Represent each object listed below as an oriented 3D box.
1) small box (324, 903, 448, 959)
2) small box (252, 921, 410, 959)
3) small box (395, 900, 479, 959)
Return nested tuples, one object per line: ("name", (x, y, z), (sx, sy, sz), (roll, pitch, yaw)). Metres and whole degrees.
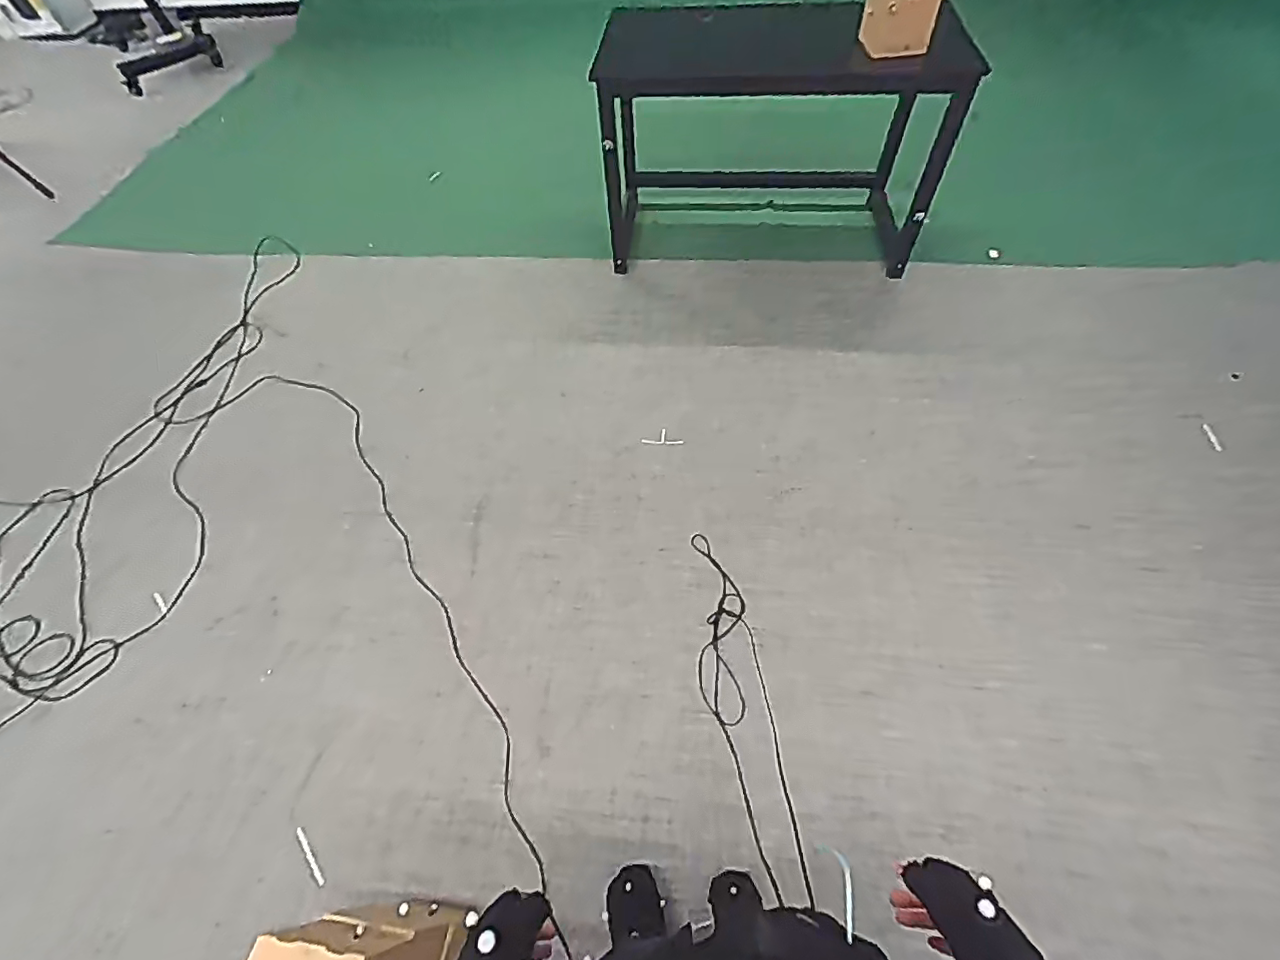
("small box", (-0.447, 0.842, 0.909), (0.168, 0.176, 0.179), (5, 56, 7))
("small box", (-0.457, 0.760, 0.768), (0.168, 0.176, 0.179), (5, 56, 7))
("small box", (-0.432, 0.933, 1.045), (0.179, 0.176, 0.168), (5, 57, 6))
